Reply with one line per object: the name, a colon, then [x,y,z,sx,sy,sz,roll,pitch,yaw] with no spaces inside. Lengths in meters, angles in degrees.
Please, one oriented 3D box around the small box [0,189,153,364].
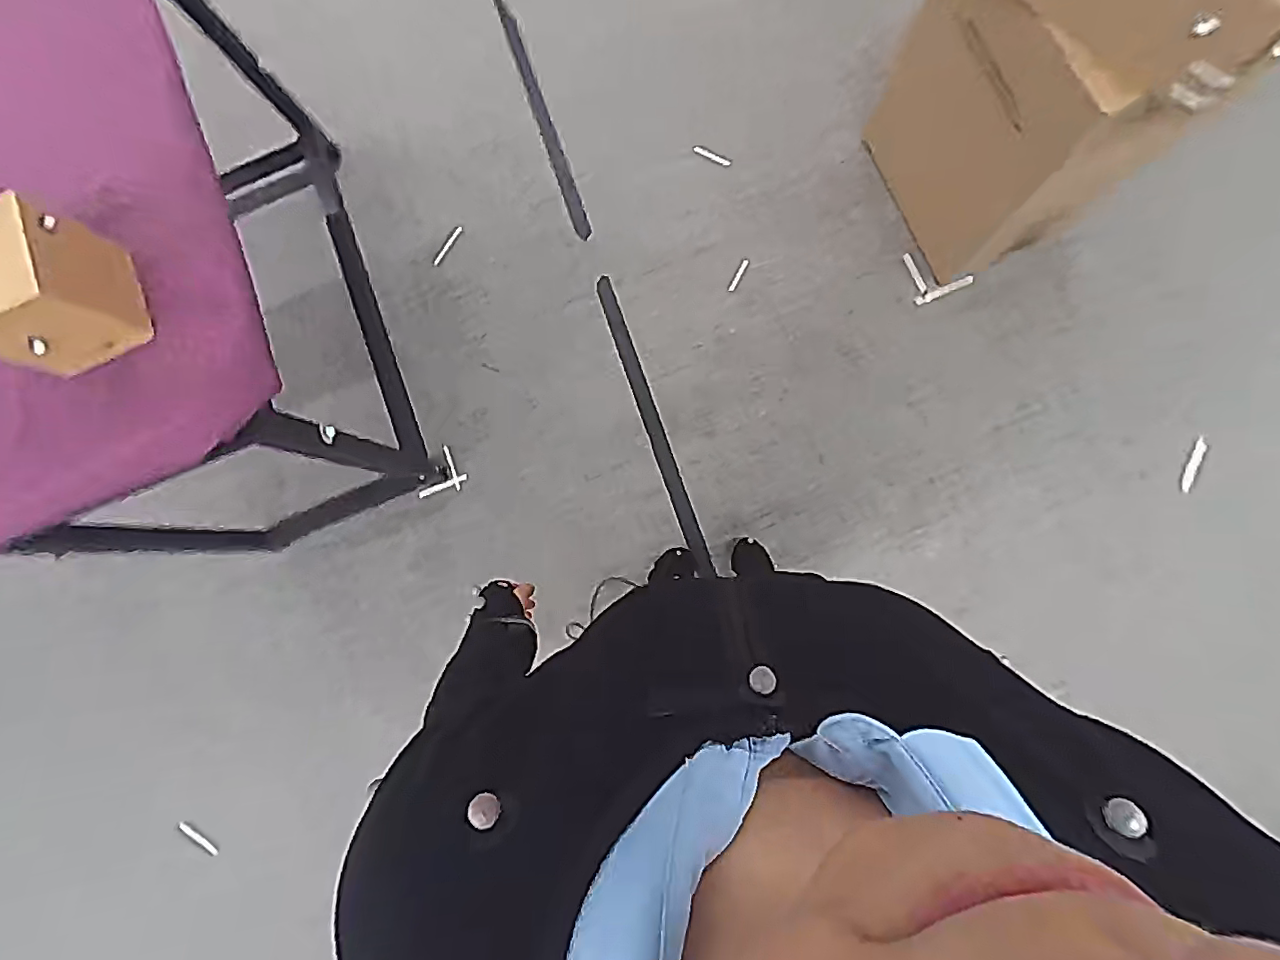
small box: [-0.920,-0.299,0.842,0.168,0.176,0.179,-24,81,2]
